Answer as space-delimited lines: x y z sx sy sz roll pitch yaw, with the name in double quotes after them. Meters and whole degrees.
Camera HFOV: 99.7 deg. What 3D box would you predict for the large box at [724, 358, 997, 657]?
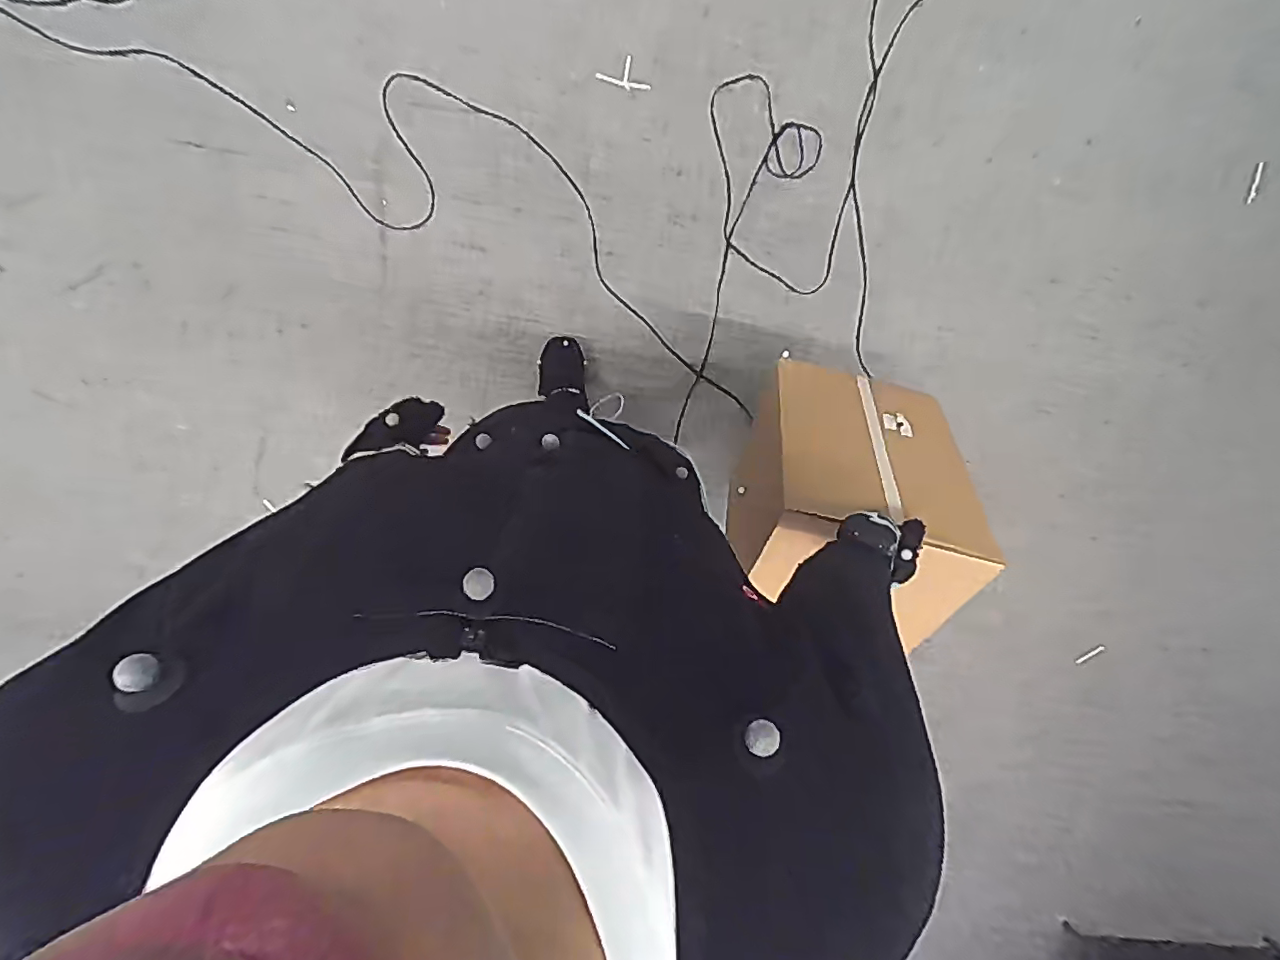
0.347 0.044 0.980 0.320 0.408 0.320 15 134 -1 "large box"
